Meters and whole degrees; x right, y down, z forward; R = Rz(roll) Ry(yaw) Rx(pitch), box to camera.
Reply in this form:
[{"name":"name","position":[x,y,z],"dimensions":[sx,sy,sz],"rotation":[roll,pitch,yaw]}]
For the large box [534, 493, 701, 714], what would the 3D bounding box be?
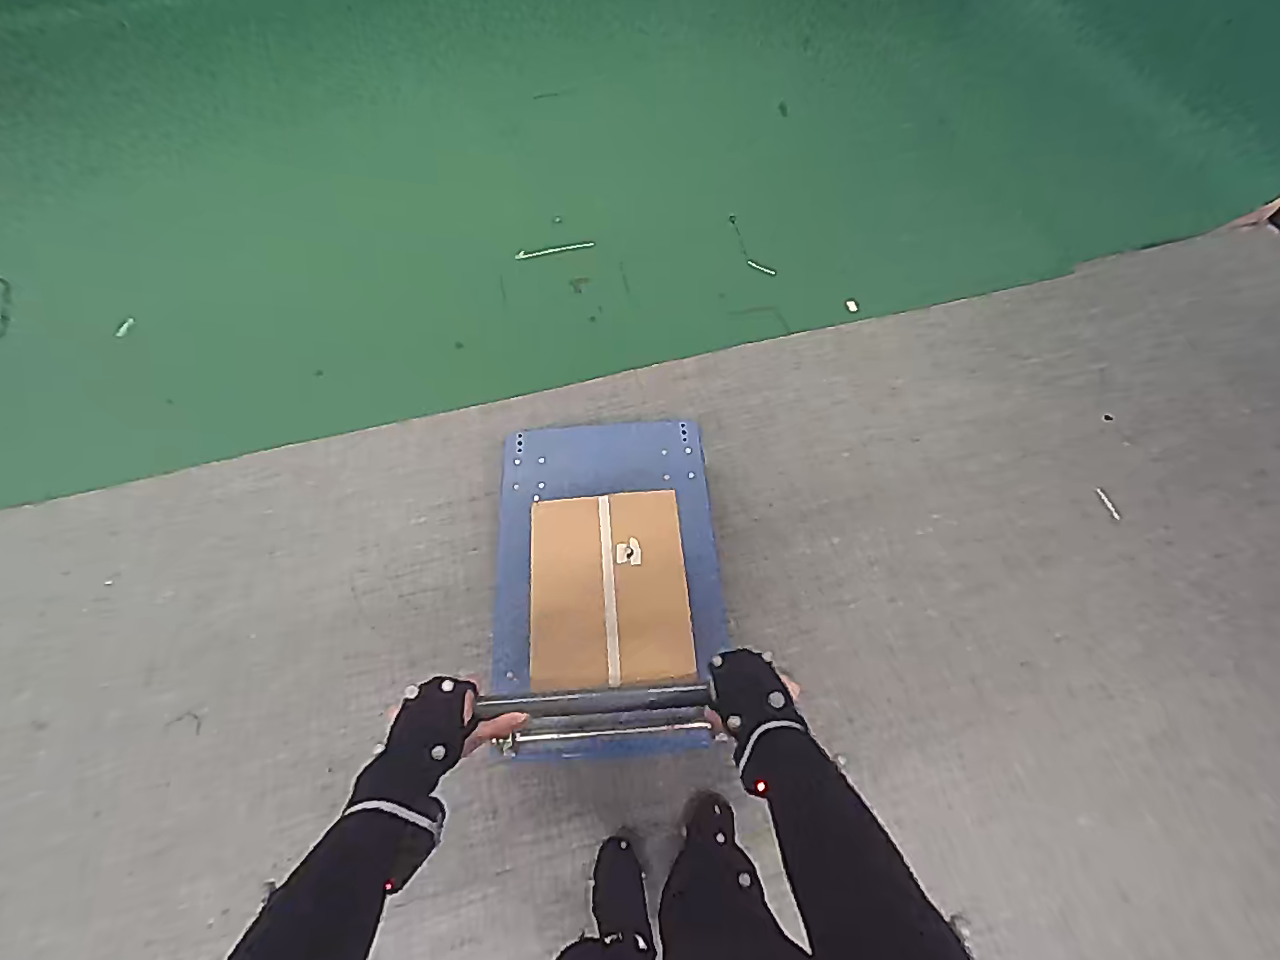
[{"name":"large box","position":[-0.053,0.286,1.216],"dimensions":[0.320,0.320,0.408],"rotation":[-5,63,-2]}]
